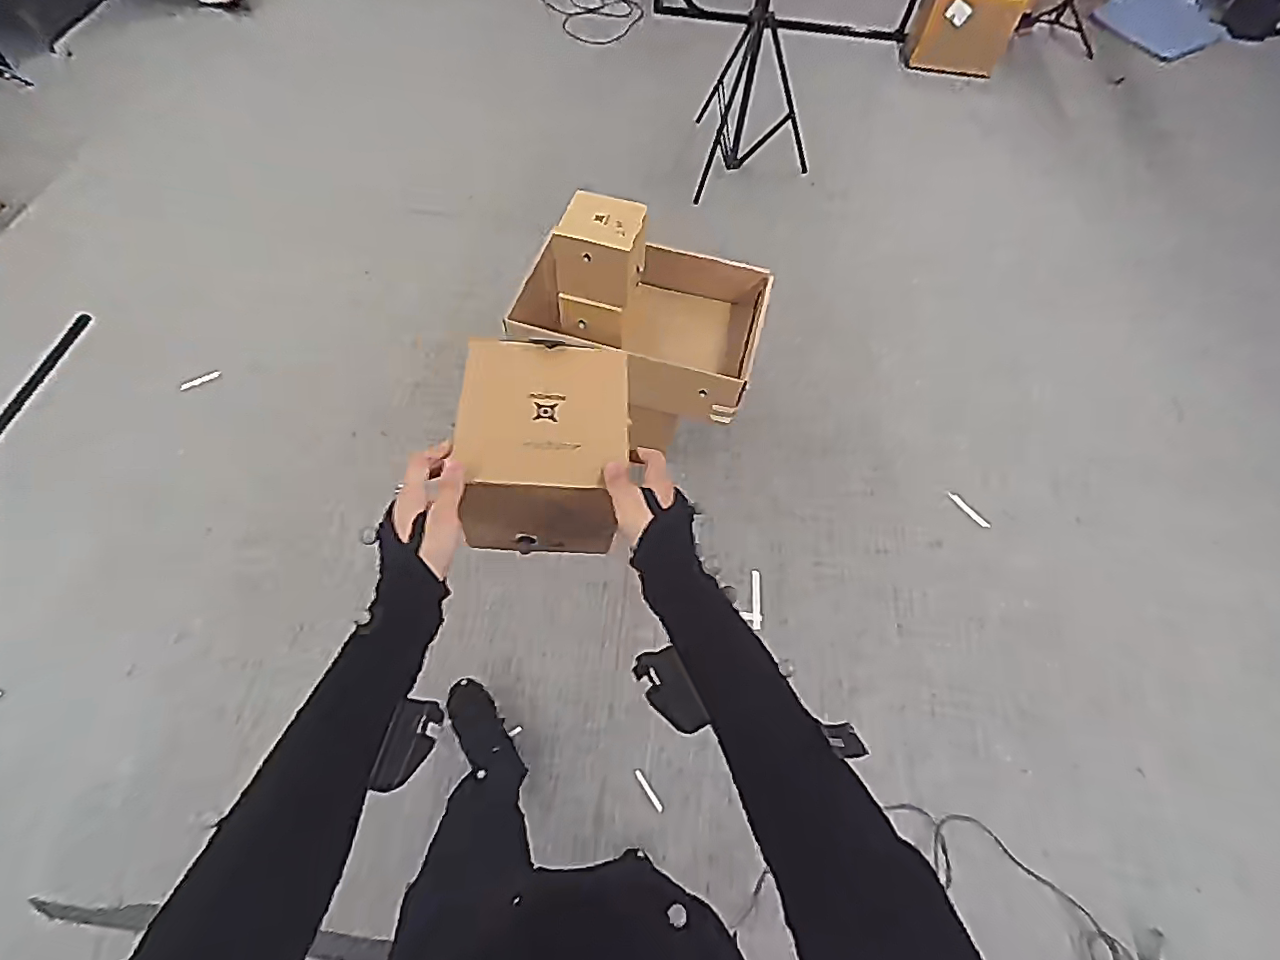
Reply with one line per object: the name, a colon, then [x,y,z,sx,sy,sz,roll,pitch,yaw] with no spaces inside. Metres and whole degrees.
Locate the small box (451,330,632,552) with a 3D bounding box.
small box: [-0.101,-0.036,0.598,0.168,0.176,0.179,3,60,-8]

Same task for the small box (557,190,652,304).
small box: [-0.082,-0.543,1.273,0.179,0.176,0.168,16,63,4]

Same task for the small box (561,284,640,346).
small box: [-0.097,-0.461,1.415,0.168,0.176,0.179,14,62,3]
